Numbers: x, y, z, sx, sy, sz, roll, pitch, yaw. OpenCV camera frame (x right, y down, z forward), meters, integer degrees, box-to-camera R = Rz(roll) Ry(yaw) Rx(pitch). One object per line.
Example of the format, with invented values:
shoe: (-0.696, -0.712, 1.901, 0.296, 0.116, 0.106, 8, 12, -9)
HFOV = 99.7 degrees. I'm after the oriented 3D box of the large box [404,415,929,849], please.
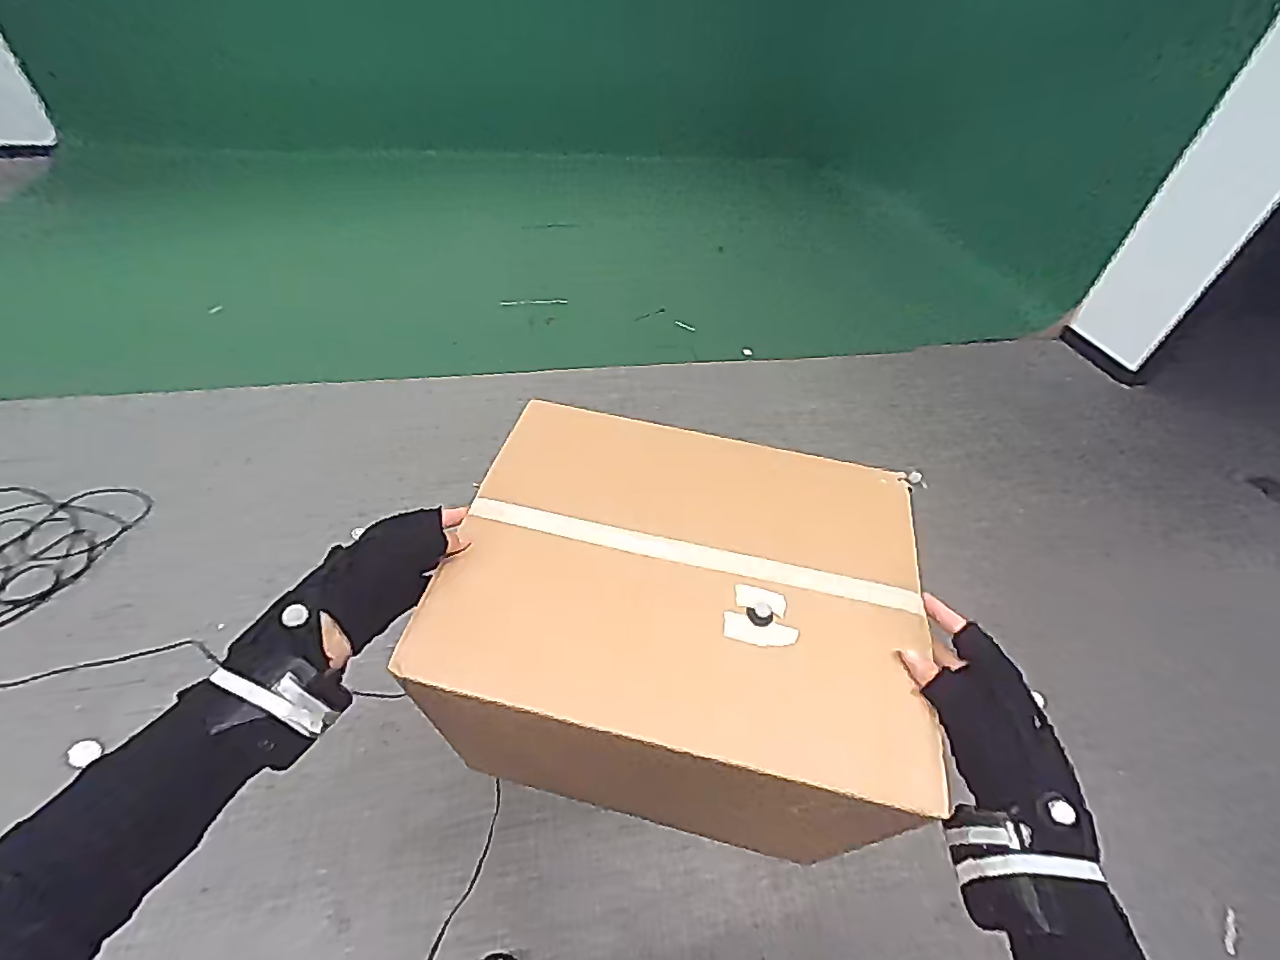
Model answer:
large box: (0.030, 0.169, 0.604, 0.408, 0.320, 0.320, 11, 51, 6)
